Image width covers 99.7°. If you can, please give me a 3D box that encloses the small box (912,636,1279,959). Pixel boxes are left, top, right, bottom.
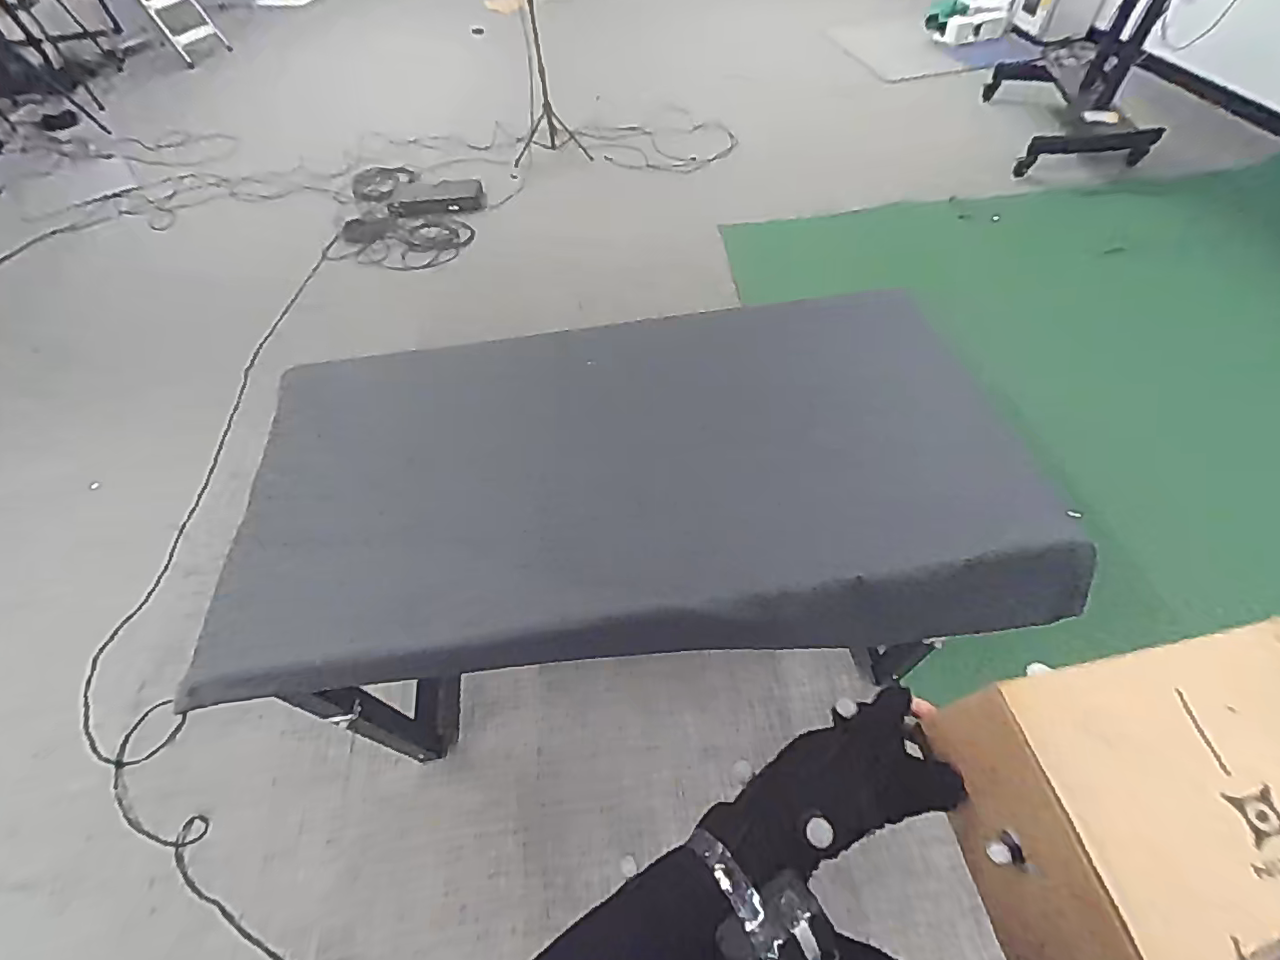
[{"bbox_3d":[0.297,0.215,0.324,0.168,0.176,0.179,-12,57,1],"label":"small box"}]
